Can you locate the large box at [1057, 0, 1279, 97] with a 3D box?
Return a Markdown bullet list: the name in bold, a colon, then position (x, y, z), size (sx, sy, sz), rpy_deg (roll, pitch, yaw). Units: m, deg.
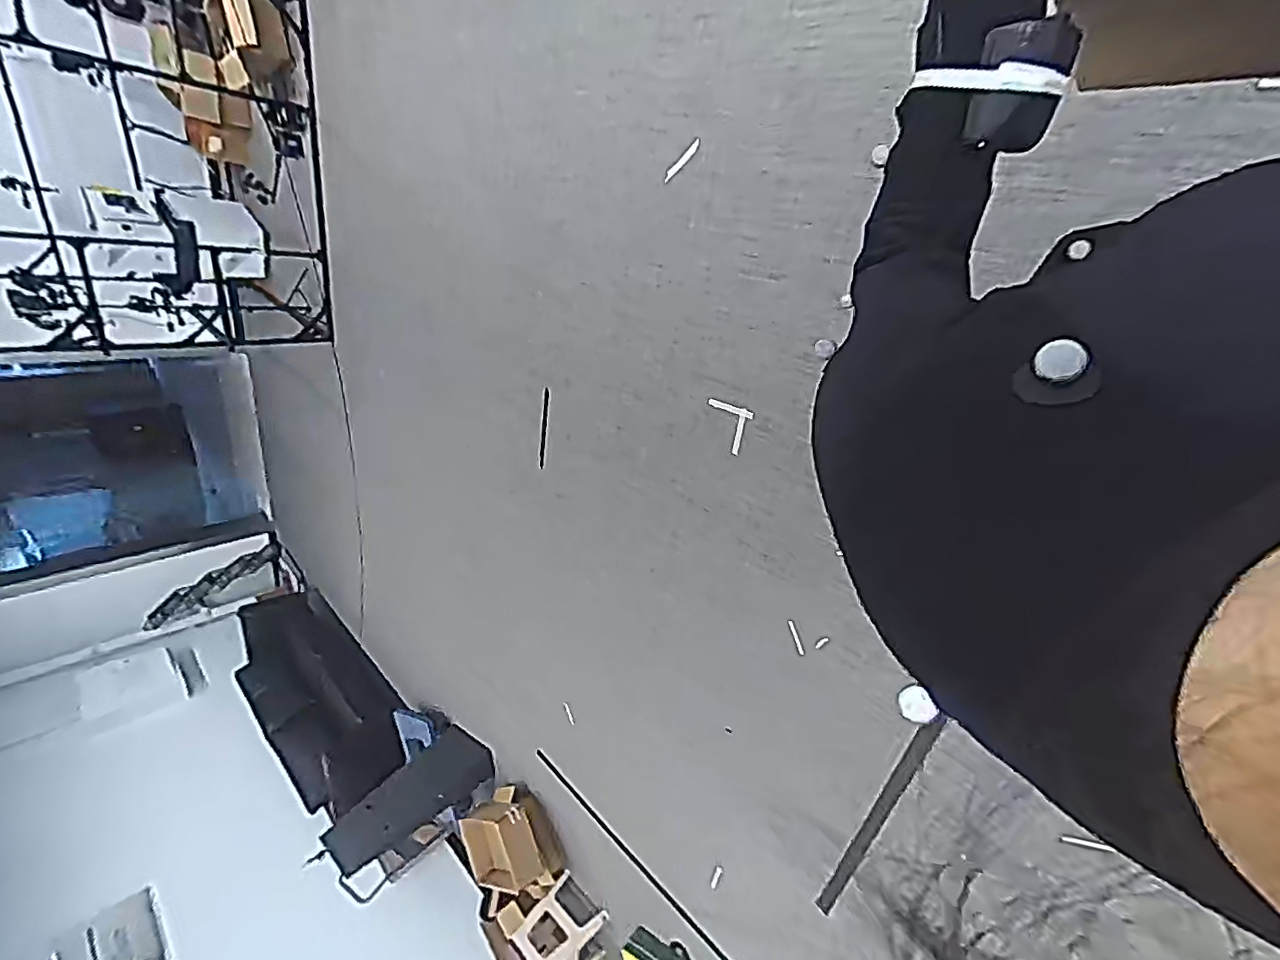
- **large box**: position (0.491, -0.421, 0.256), size (0.408, 0.320, 0.320), rpy_deg (20, 120, 34)
